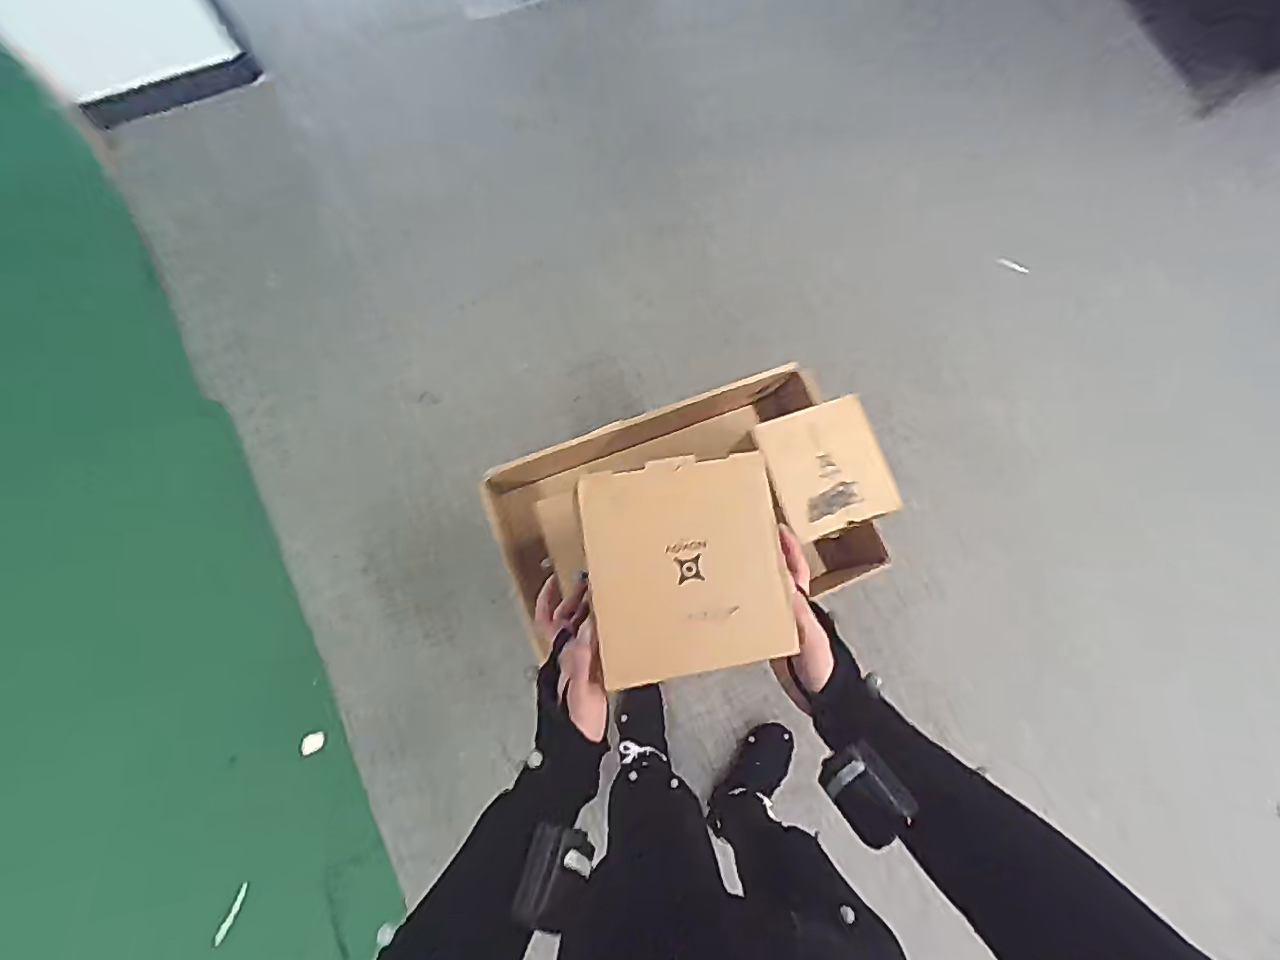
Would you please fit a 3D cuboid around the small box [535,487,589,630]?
[{"bbox_3d":[-0.041,0.101,0.774,0.168,0.176,0.179,-19,80,-7],"label":"small box"}]

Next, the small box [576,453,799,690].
[{"bbox_3d":[0.029,0.082,0.519,0.168,0.176,0.179,-7,82,-8],"label":"small box"}]

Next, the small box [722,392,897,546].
[{"bbox_3d":[0.243,-0.006,0.819,0.168,0.176,0.179,-19,81,-9],"label":"small box"}]
